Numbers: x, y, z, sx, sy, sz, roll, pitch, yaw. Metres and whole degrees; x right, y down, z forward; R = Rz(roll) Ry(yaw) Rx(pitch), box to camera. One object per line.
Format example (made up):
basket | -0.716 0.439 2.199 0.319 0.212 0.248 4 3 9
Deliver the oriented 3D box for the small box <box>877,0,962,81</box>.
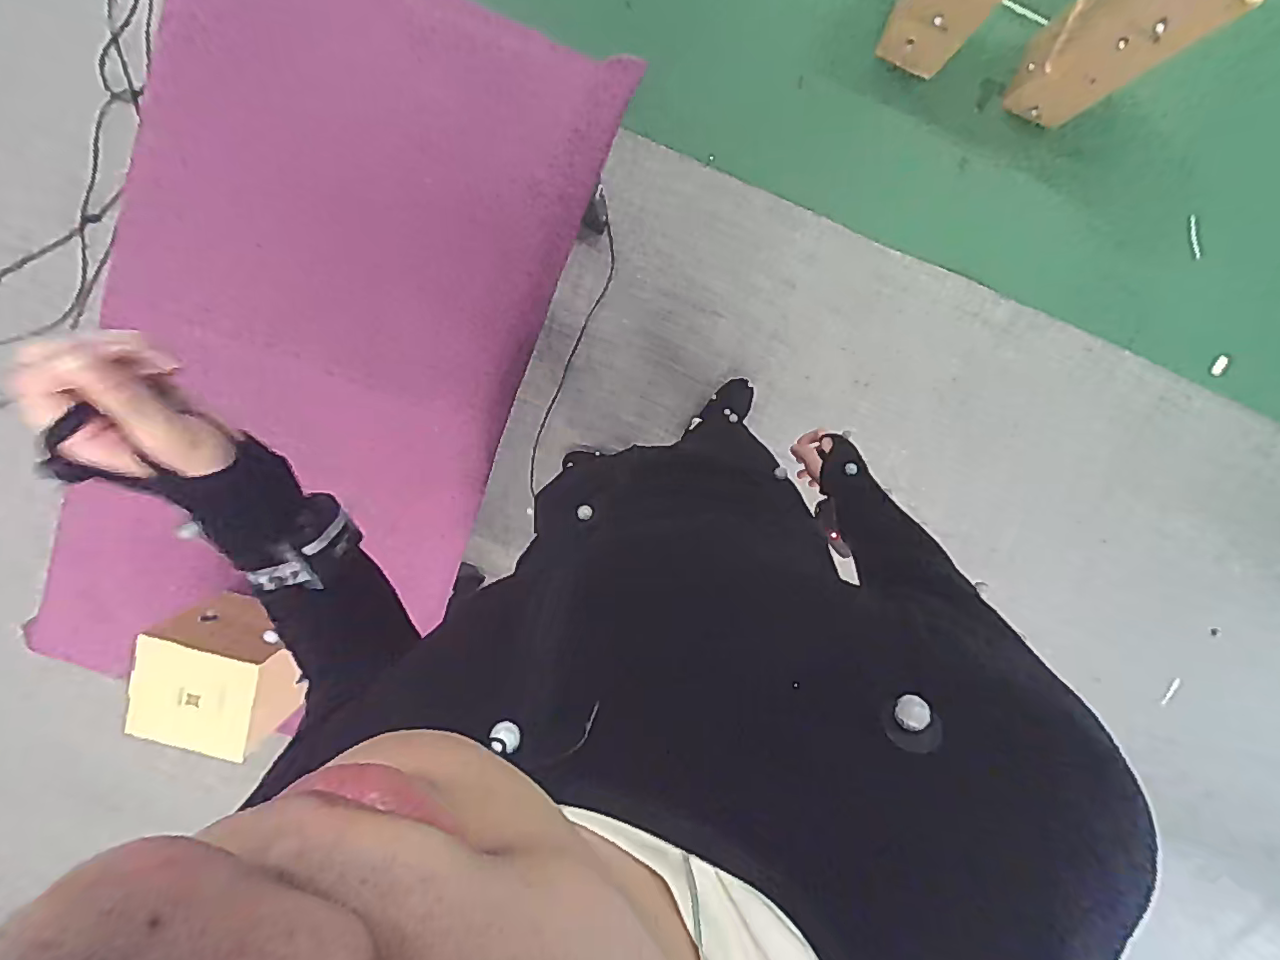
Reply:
small box | 0.720 -1.149 1.343 0.168 0.176 0.179 22 98 -3

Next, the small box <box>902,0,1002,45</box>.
small box | 0.709 -1.118 1.181 0.168 0.176 0.179 20 100 -3

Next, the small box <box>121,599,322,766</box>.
small box | -0.650 0.308 0.858 0.179 0.176 0.168 17 100 -3

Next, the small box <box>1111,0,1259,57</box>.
small box | 1.075 -0.978 1.036 0.168 0.176 0.179 25 100 -5

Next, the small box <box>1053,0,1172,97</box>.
small box | 1.078 -1.010 1.198 0.168 0.176 0.179 25 99 -5
